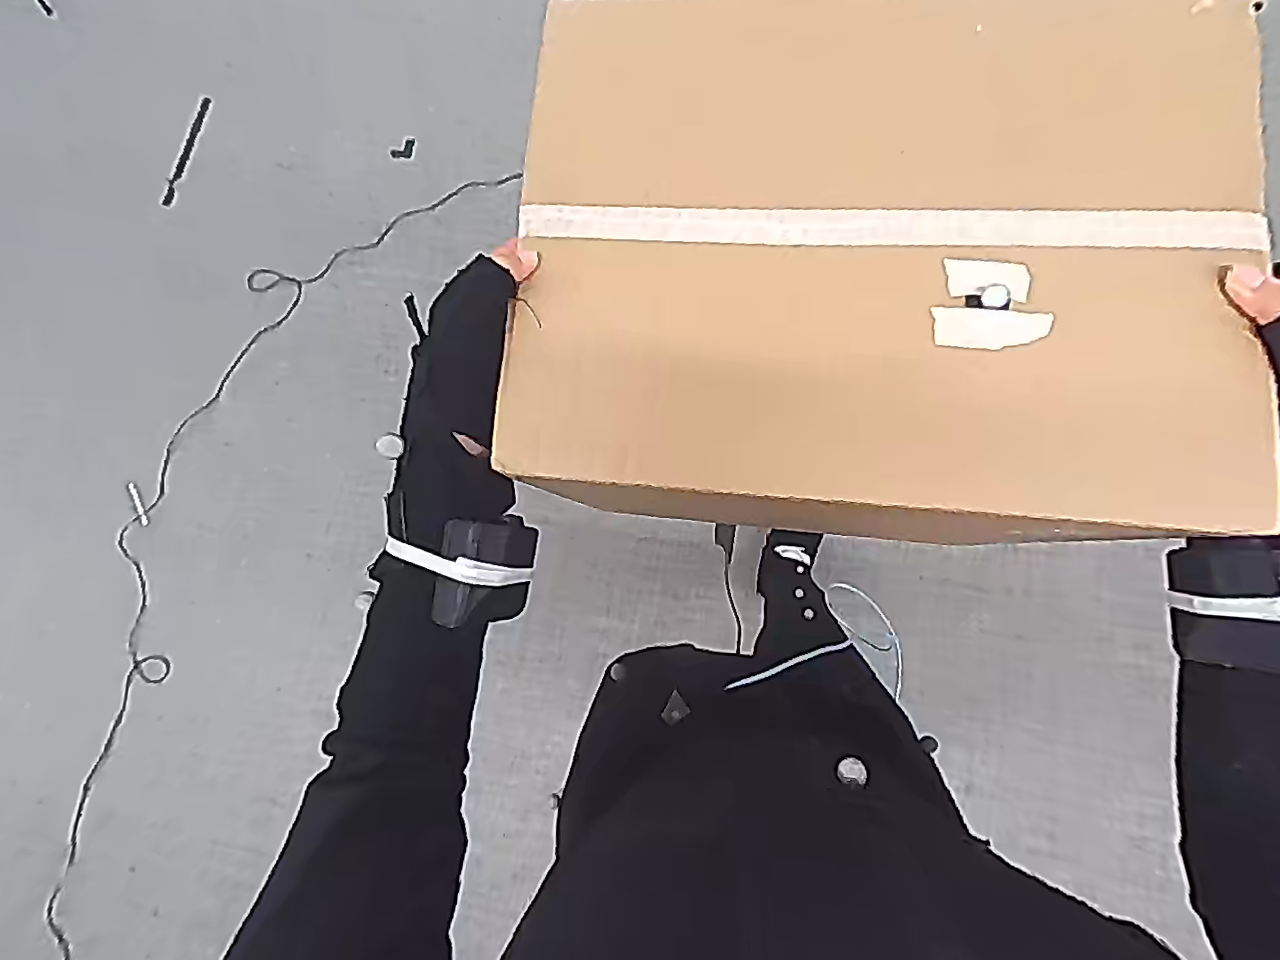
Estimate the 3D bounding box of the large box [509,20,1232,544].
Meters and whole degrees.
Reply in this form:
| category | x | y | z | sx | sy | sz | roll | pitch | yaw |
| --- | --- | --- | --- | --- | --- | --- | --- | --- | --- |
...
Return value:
| category | x | y | z | sx | sy | sz | roll | pitch | yaw |
| --- | --- | --- | --- | --- | --- | --- | --- | --- | --- |
| large box | 0.140 | -0.114 | 0.471 | 0.408 | 0.320 | 0.320 | 4 | 84 | 7 |
